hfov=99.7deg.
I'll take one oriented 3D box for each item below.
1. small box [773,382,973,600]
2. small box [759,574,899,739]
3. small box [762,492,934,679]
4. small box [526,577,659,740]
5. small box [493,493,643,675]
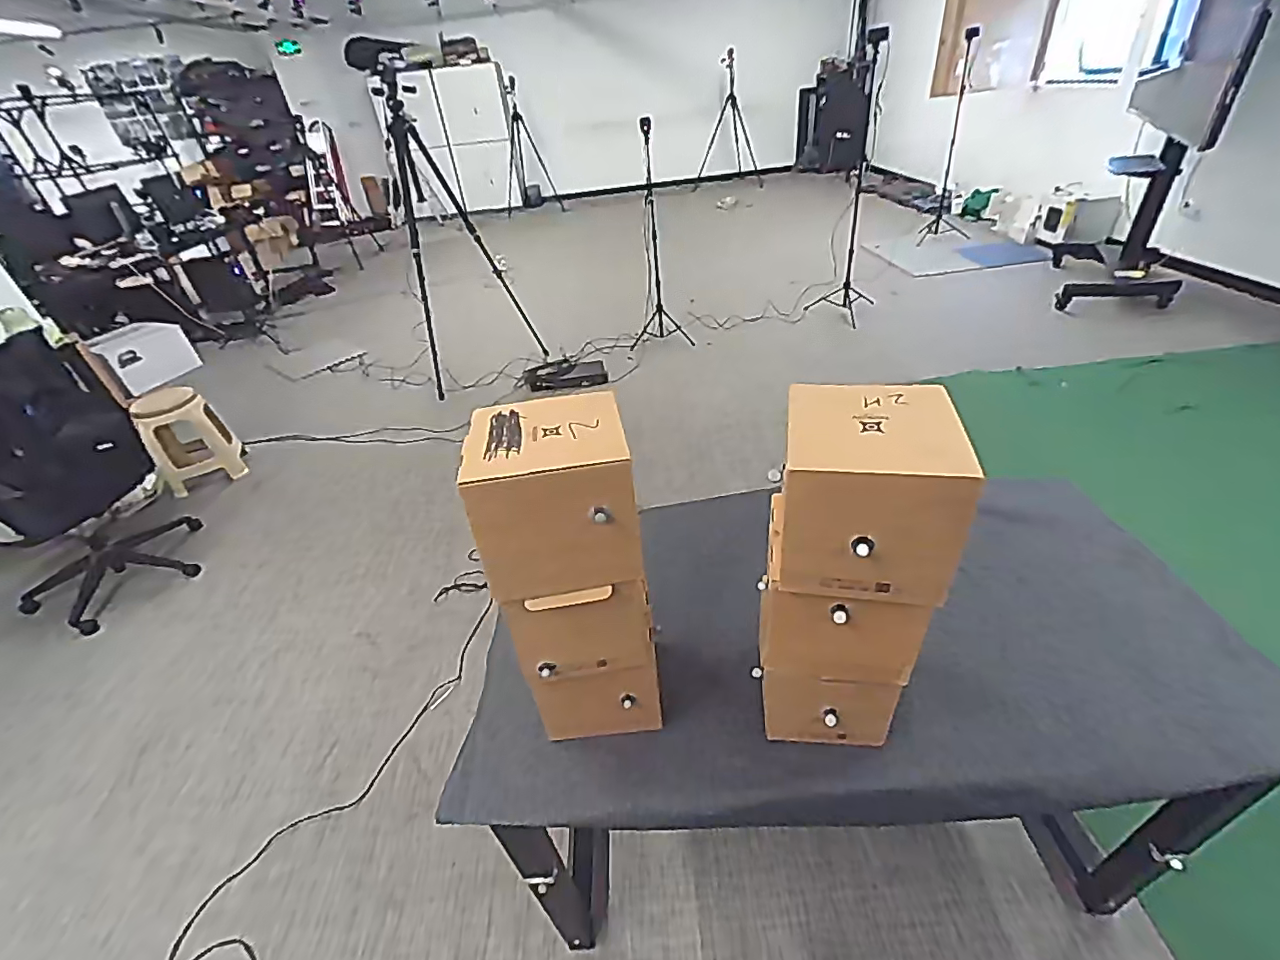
[{"bbox_3d":[0.234,0.008,0.587,0.168,0.176,0.179,3,37,14],"label":"small box"},{"bbox_3d":[0.265,0.259,0.798,0.168,0.176,0.179,-1,37,9],"label":"small box"},{"bbox_3d":[0.250,0.133,0.695,0.179,0.176,0.168,1,37,14],"label":"small box"},{"bbox_3d":[-0.065,0.276,0.838,0.179,0.176,0.168,-8,35,1],"label":"small box"},{"bbox_3d":[-0.092,0.146,0.741,0.168,0.176,0.179,-9,34,-3],"label":"small box"}]
